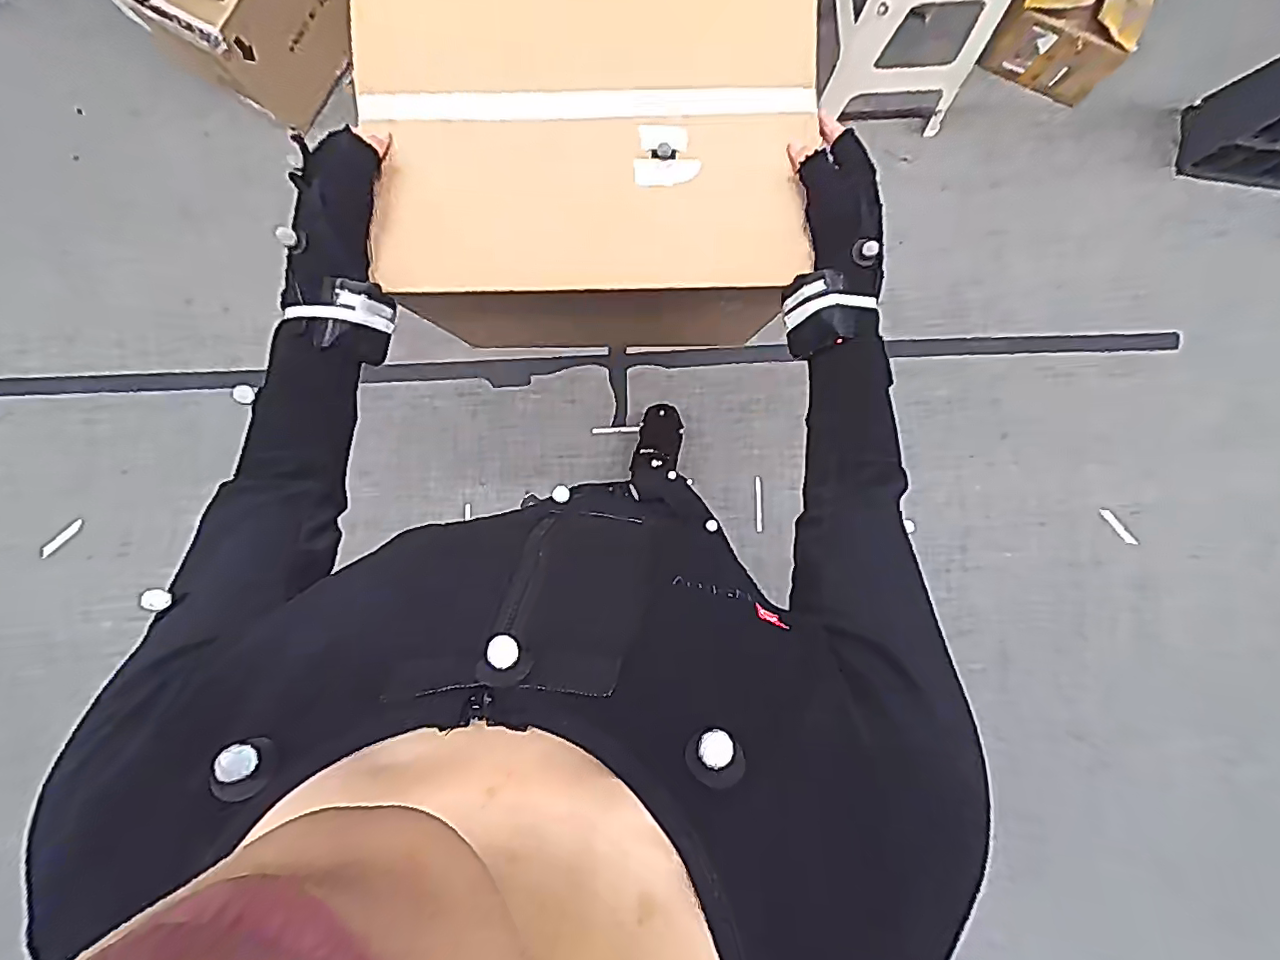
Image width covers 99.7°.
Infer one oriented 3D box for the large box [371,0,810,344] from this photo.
[{"bbox_3d":[-0.047,-0.352,0.648,0.408,0.320,0.320,-2,95,-1],"label":"large box"}]
